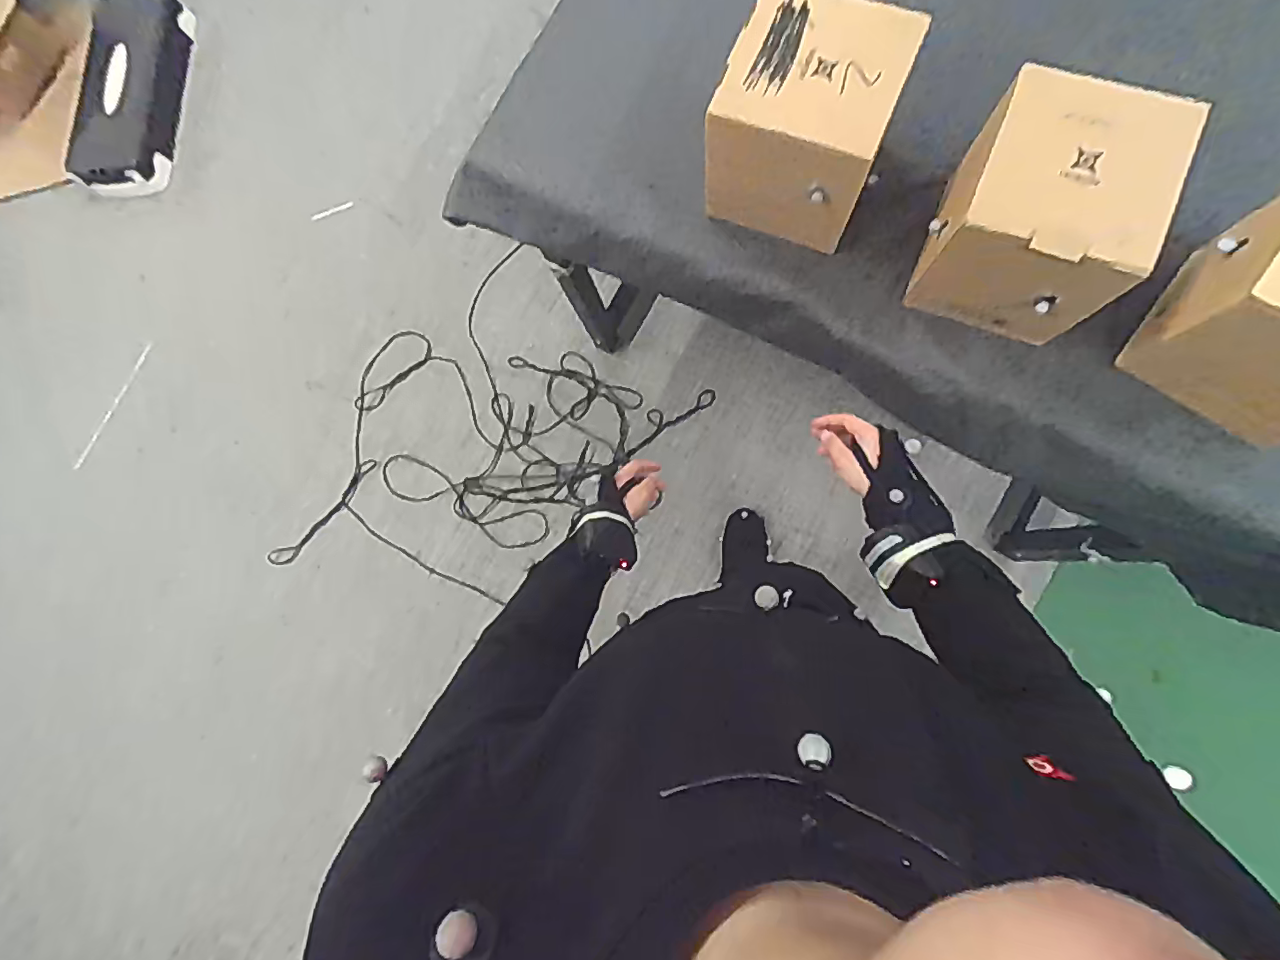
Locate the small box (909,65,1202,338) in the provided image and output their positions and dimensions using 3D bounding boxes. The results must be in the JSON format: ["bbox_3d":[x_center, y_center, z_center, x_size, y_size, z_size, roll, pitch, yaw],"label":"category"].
[{"bbox_3d":[0.414,-0.278,0.575,0.168,0.176,0.179,21,84,9],"label":"small box"}]

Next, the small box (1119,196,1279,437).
[{"bbox_3d":[0.643,-0.162,0.528,0.179,0.176,0.168,36,88,11],"label":"small box"}]
